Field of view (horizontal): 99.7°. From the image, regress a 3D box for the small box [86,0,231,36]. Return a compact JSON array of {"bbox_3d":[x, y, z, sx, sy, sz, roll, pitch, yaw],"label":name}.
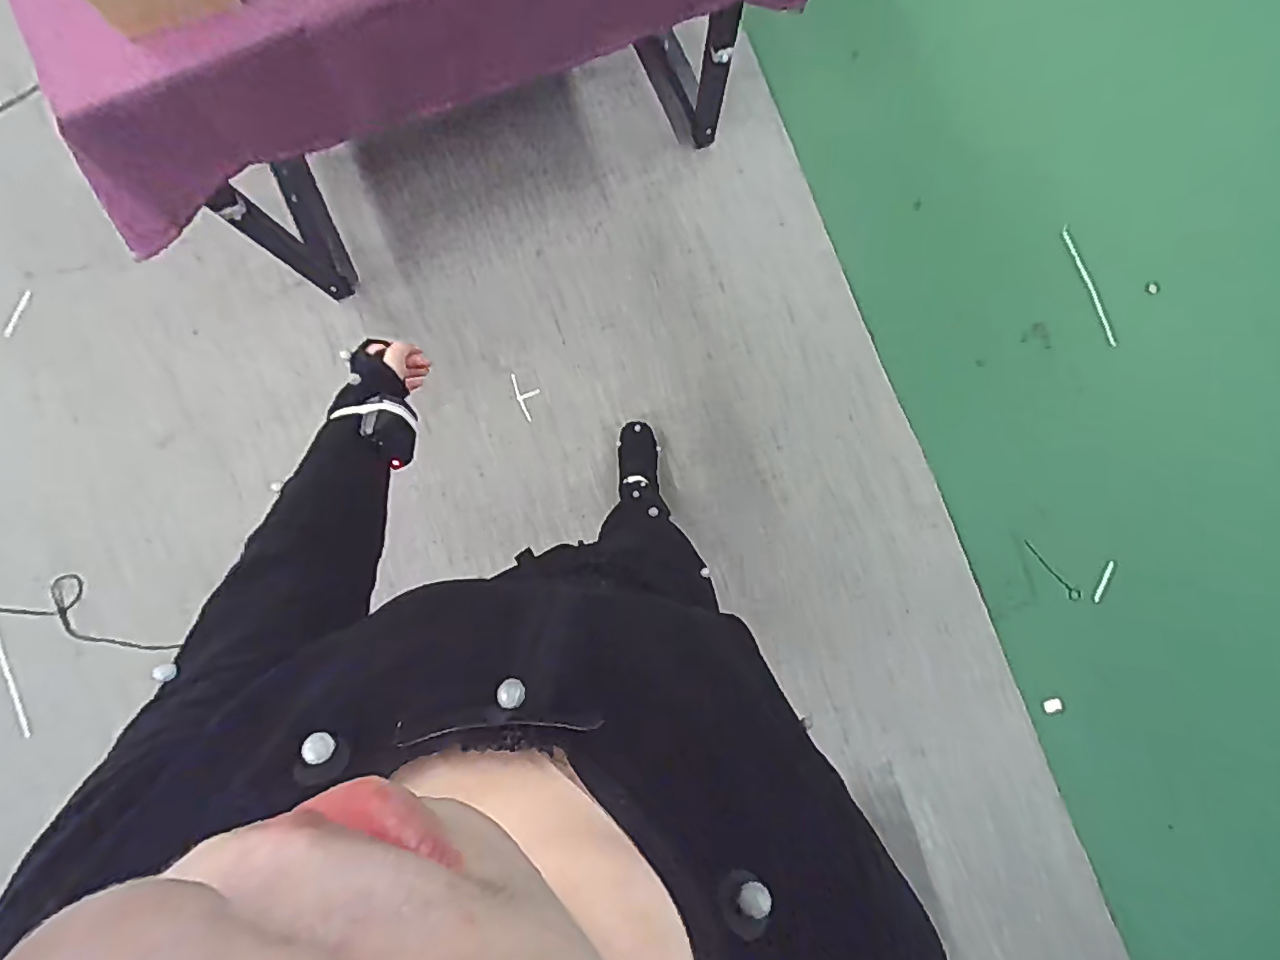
[{"bbox_3d":[-0.701,-0.751,0.722,0.179,0.176,0.168,-20,87,-3],"label":"small box"}]
